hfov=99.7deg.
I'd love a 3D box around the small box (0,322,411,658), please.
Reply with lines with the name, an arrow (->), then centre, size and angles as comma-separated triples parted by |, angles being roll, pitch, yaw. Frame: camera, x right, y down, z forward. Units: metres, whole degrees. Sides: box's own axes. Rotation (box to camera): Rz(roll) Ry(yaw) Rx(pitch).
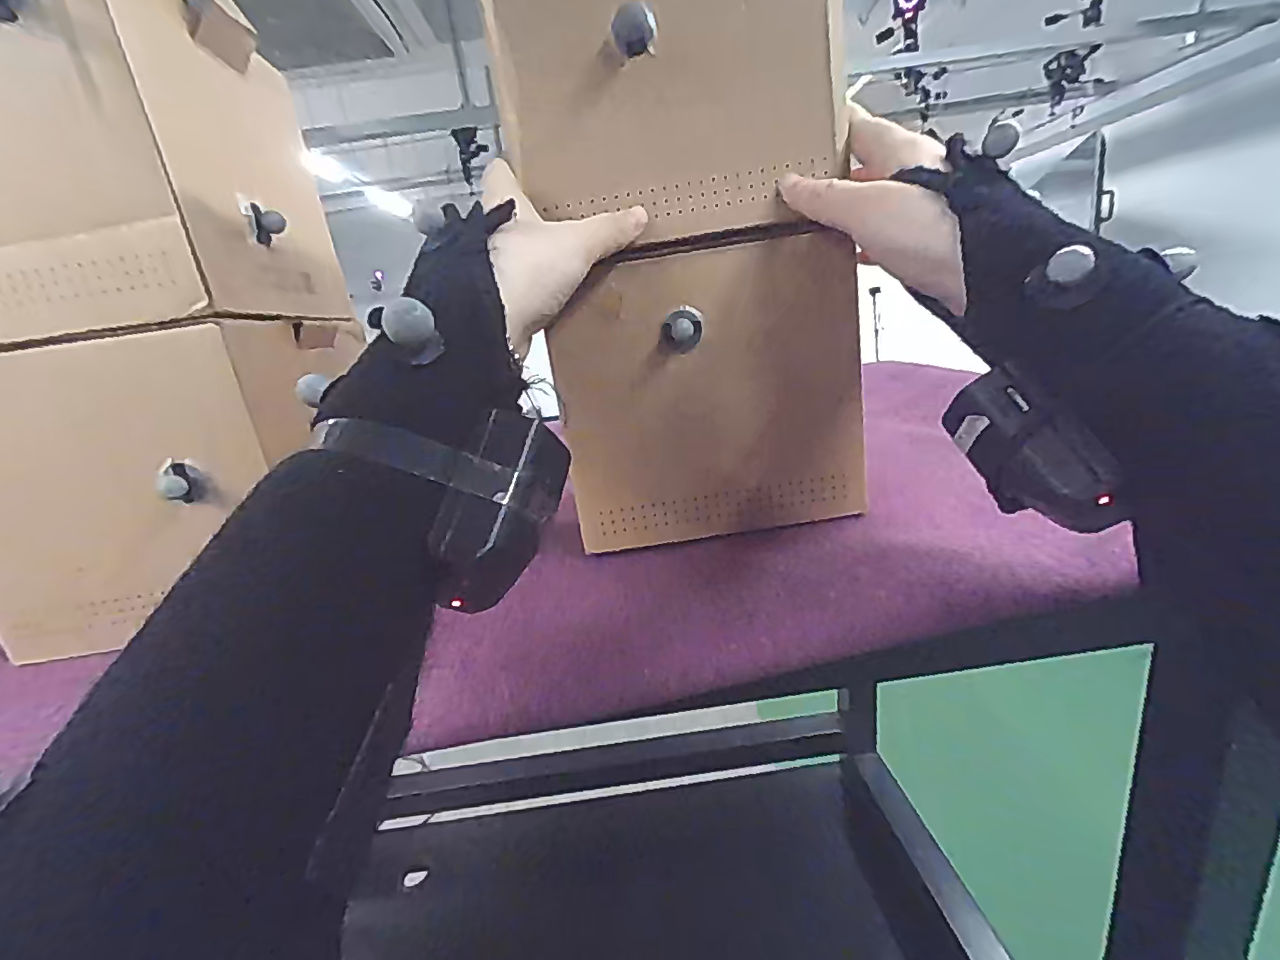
small box -> -0.278, -0.007, 0.361 | 0.179, 0.176, 0.168 | -9, 16, -2

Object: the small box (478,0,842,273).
small box -> 0.012, -0.222, 0.349 | 0.179, 0.176, 0.168 | -10, 14, 2

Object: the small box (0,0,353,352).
small box -> -0.307, -0.162, 0.318 | 0.179, 0.176, 0.168 | -9, 16, -4

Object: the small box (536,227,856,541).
small box -> 0.039, -0.064, 0.391 | 0.179, 0.176, 0.168 | -8, 14, 1
